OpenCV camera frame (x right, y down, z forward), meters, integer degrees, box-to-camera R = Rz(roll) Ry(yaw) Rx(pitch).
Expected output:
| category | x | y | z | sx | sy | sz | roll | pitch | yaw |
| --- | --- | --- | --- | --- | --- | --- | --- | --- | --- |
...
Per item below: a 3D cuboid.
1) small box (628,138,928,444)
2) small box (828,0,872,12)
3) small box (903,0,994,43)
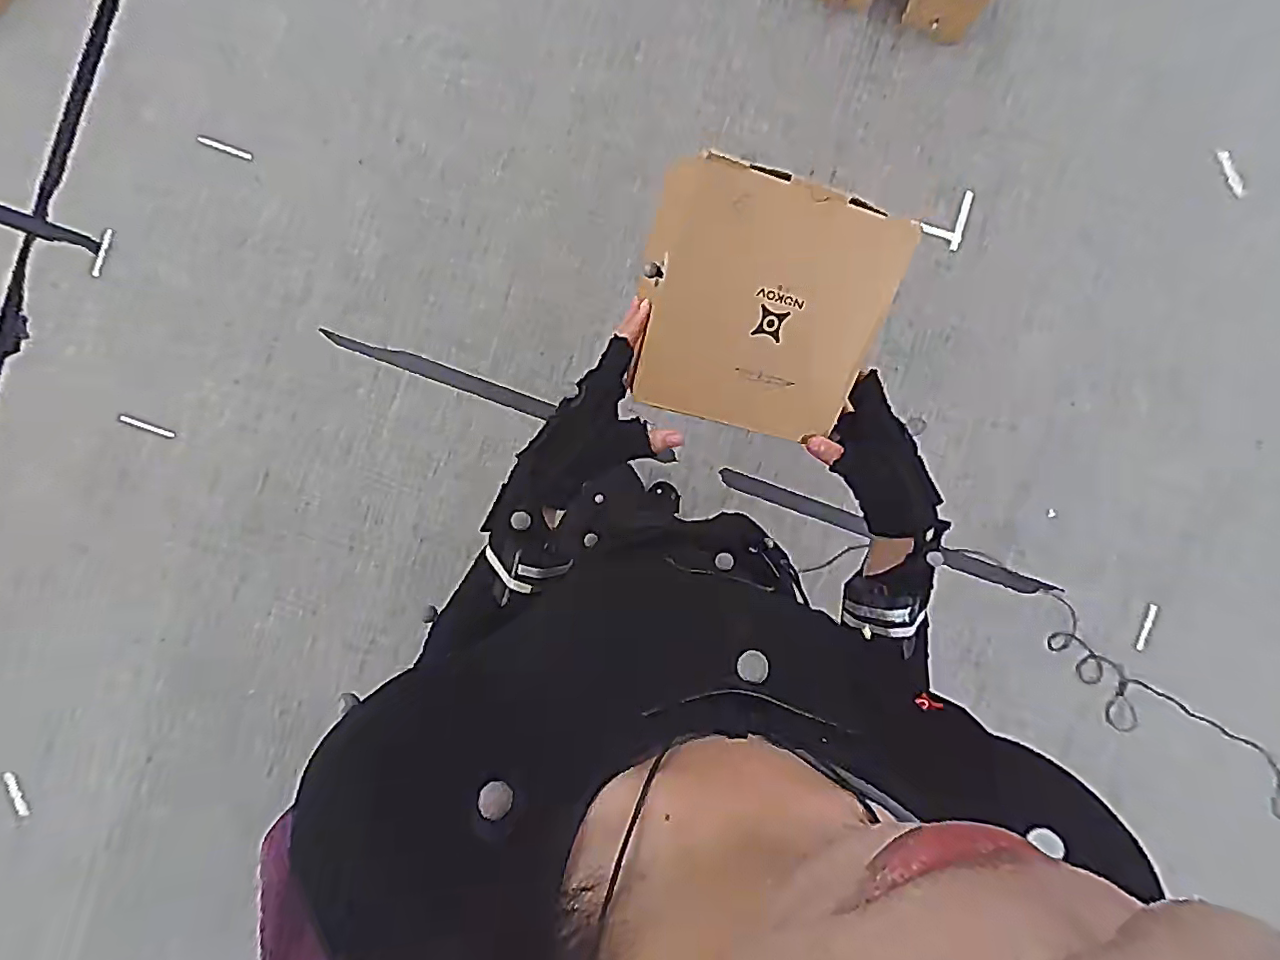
| category | x | y | z | sx | sy | sz | roll | pitch | yaw |
| --- | --- | --- | --- | --- | --- | --- | --- | --- | --- |
| small box | 0.091 | -0.158 | 0.460 | 0.168 | 0.176 | 0.179 | 14 | 115 | -12 |
| small box | 0.588 | -1.420 | 1.441 | 0.168 | 0.176 | 0.179 | 18 | 91 | -1 |
| small box | 0.850 | -1.330 | 1.447 | 0.179 | 0.176 | 0.168 | 22 | 90 | -2 |
